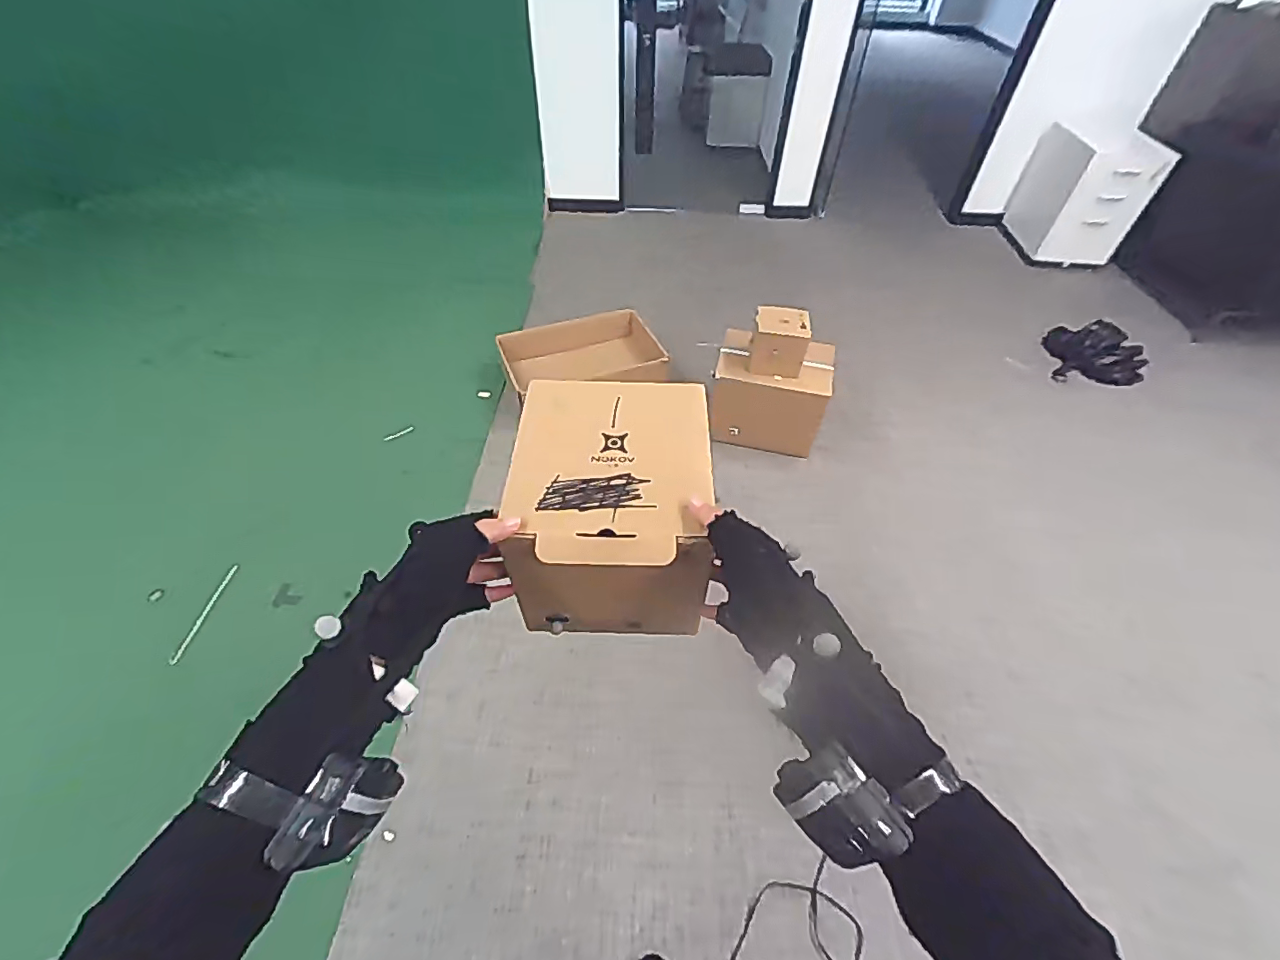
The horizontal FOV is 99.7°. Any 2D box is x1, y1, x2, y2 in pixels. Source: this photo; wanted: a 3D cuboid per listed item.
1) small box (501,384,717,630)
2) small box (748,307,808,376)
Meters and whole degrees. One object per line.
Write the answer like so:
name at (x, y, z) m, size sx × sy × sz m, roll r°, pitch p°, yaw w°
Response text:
small box at (-0.020, 0.029, 0.512) m, size 0.168 × 0.176 × 0.179 m, roll 1°, pitch 49°, yaw 0°
small box at (0.473, -0.477, 1.871) m, size 0.179 × 0.176 × 0.168 m, roll 7°, pitch 49°, yaw 5°
